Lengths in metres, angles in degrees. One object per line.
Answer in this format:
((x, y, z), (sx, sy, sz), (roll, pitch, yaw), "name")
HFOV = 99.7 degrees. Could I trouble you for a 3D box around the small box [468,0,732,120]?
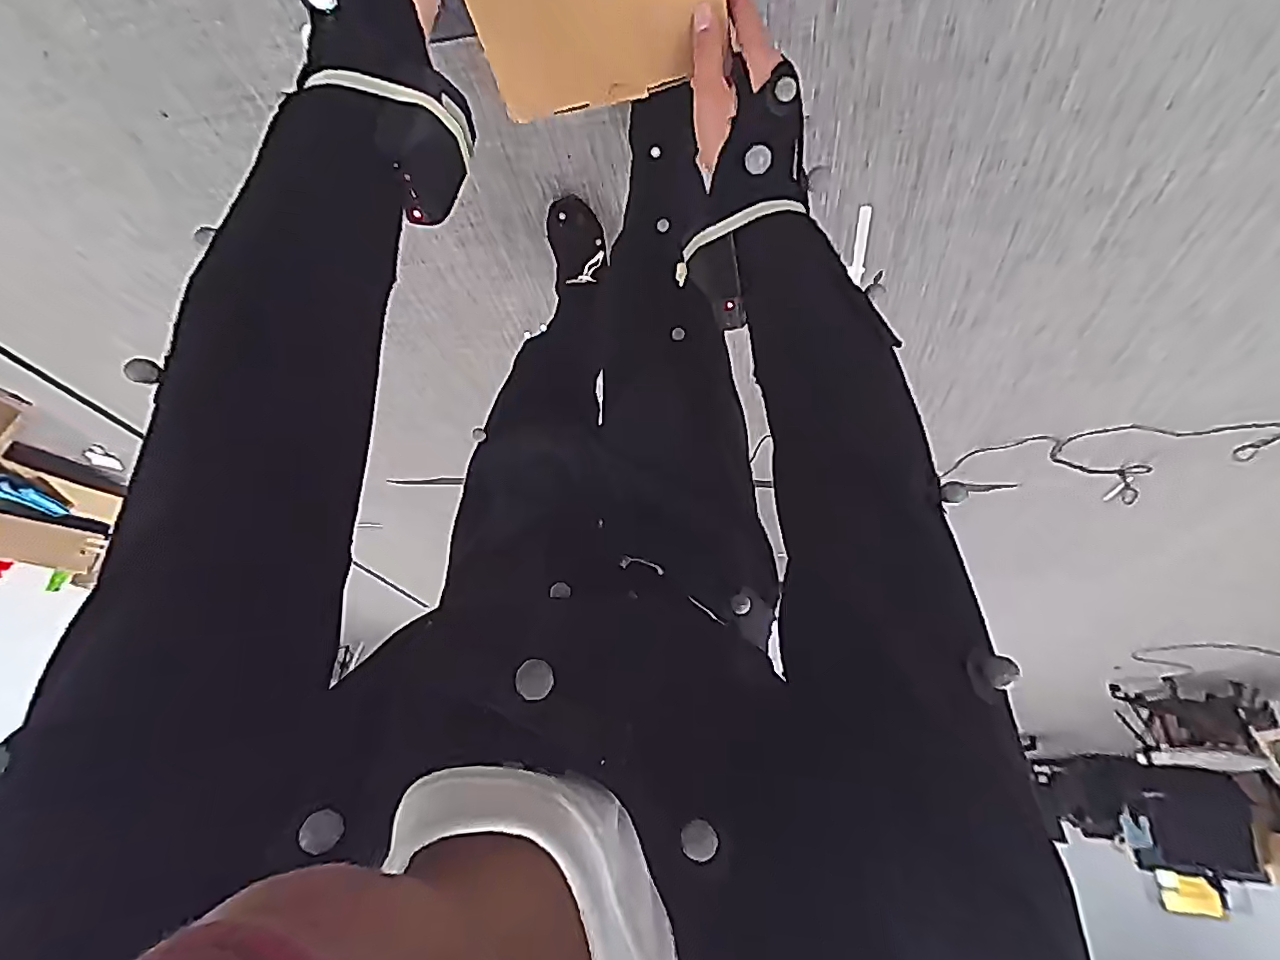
((-0.031, -0.391, 0.363), (0.168, 0.176, 0.179), (-5, 149, 14), "small box")
